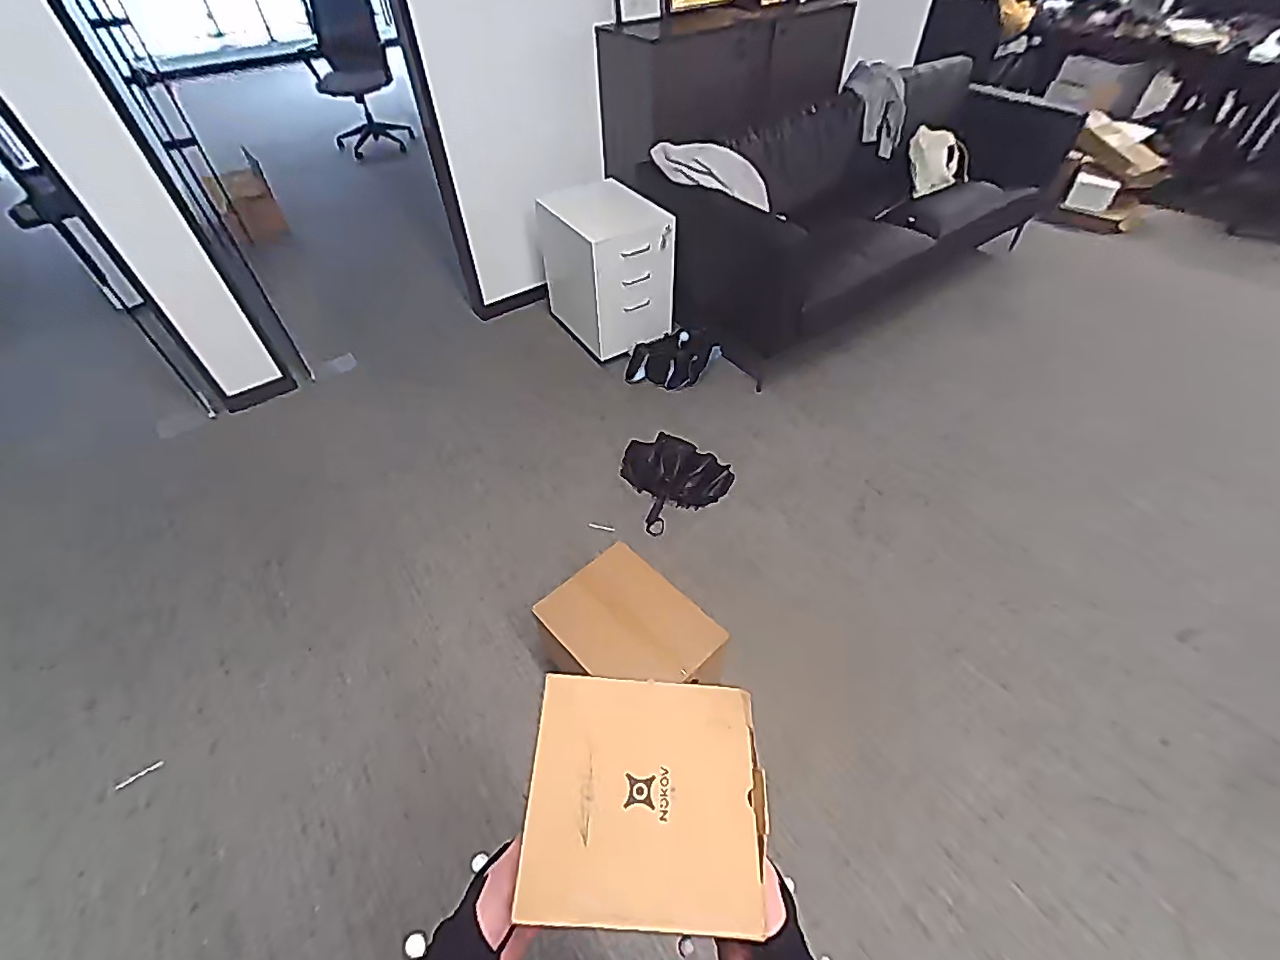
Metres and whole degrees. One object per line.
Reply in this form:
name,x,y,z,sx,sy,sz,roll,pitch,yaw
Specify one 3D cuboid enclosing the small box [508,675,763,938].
small box,-0.005,0.285,0.474,0.179,0.176,0.168,4,52,-2
